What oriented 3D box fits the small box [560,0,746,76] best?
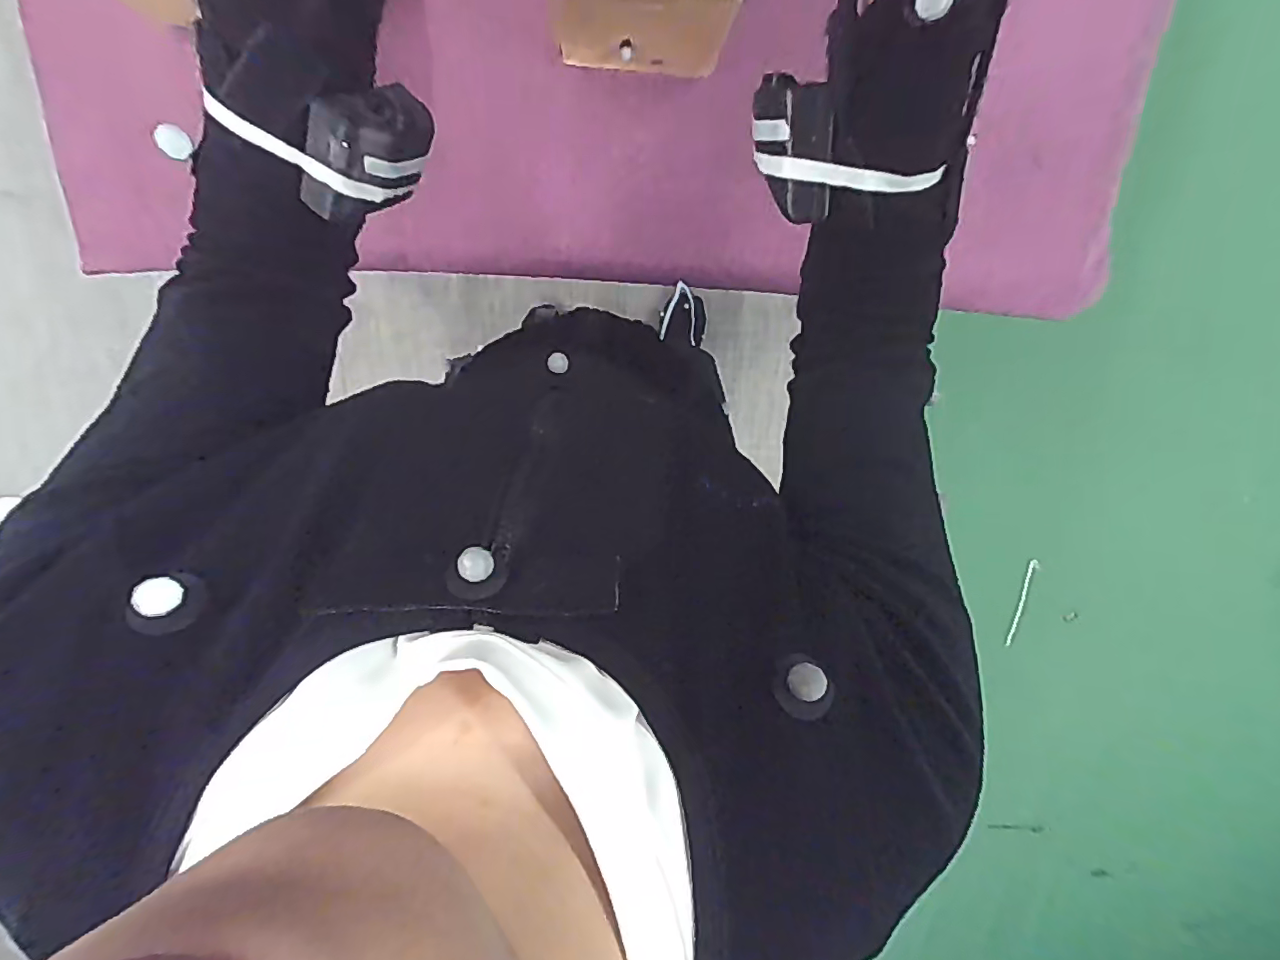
[{"bbox_3d":[0.010,-0.510,0.493,0.168,0.176,0.179,3,109,-3],"label":"small box"}]
